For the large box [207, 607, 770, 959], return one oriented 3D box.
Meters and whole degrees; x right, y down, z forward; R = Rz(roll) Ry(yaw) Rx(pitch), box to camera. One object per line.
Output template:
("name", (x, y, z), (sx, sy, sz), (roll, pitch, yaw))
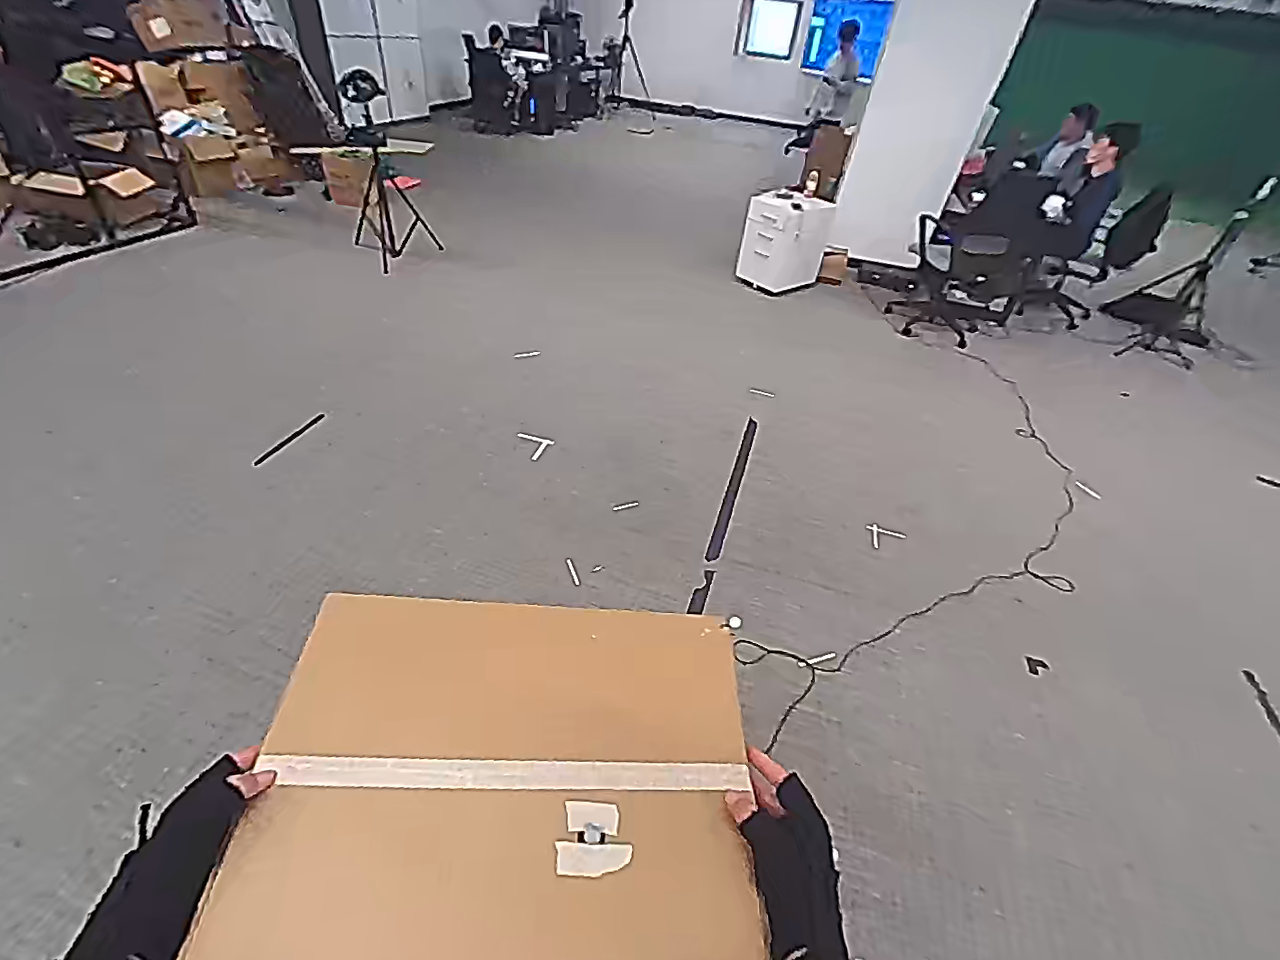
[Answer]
("large box", (-0.124, 0.354, 0.574), (0.408, 0.320, 0.320), (5, 49, -7))
